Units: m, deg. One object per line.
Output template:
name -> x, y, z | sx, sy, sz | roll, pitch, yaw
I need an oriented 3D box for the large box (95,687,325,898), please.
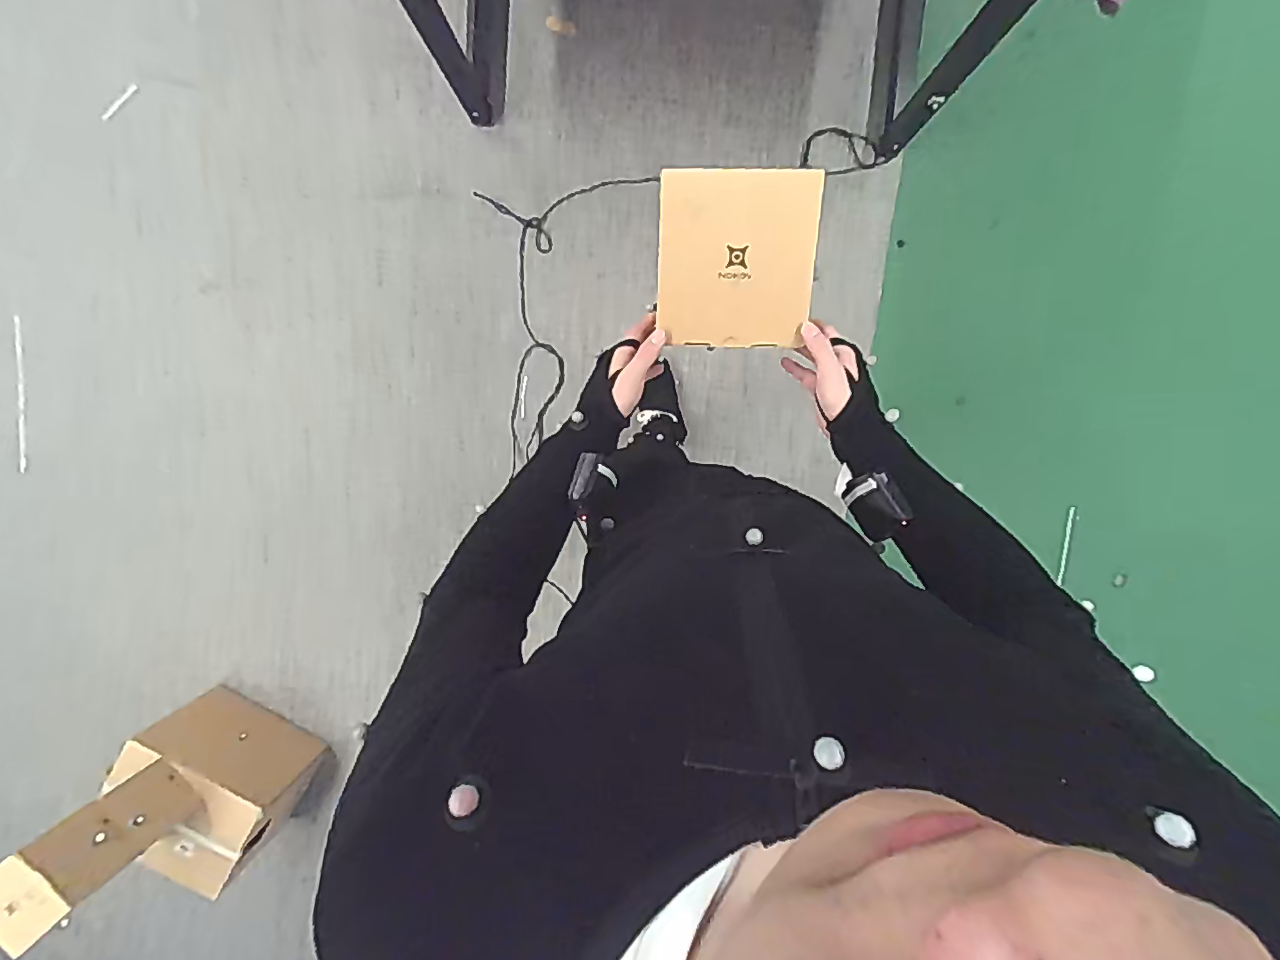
large box -> -1.243, 0.883, 1.574 | 0.408, 0.320, 0.320 | 29, 96, -3

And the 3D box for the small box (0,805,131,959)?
small box -> -1.272, 0.855, 1.158 | 0.179, 0.176, 0.168 | -41, 94, 3

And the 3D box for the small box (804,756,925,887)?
small box -> 0.521, 0.796, 1.286 | 0.168, 0.176, 0.179 | -45, 94, 6

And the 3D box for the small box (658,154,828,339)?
small box -> 0.106, -0.264, 0.637 | 0.168, 0.176, 0.179 | 2, 110, 2

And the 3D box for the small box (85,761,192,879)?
small box -> -1.268, 0.841, 1.323 | 0.179, 0.176, 0.168 | -40, 94, 4
